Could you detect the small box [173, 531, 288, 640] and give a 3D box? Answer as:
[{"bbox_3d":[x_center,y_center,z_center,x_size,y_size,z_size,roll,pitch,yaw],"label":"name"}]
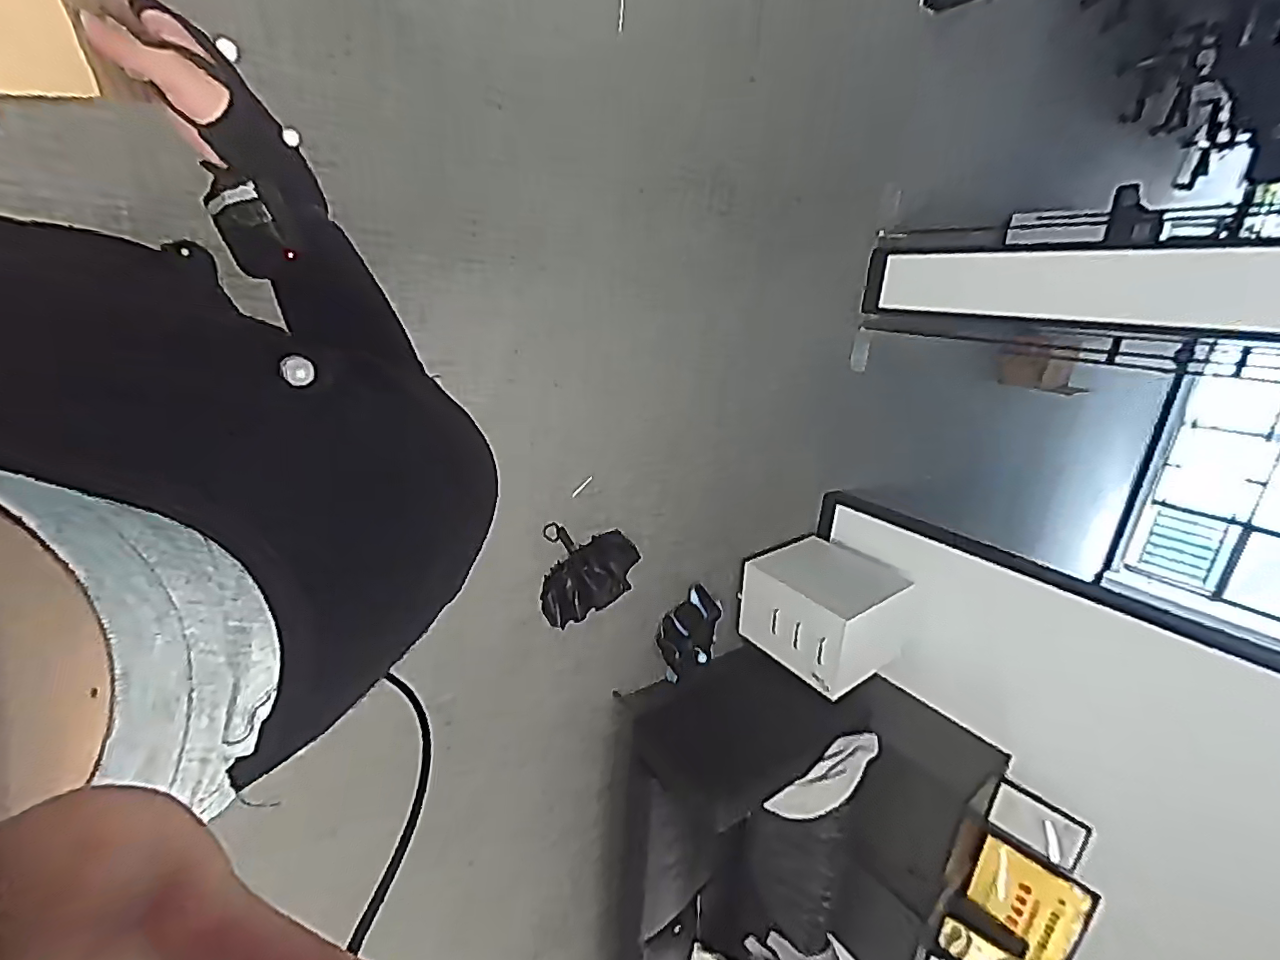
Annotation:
[{"bbox_3d":[-0.977,0.241,1.299,0.168,0.176,0.179,-24,122,-27],"label":"small box"}]
